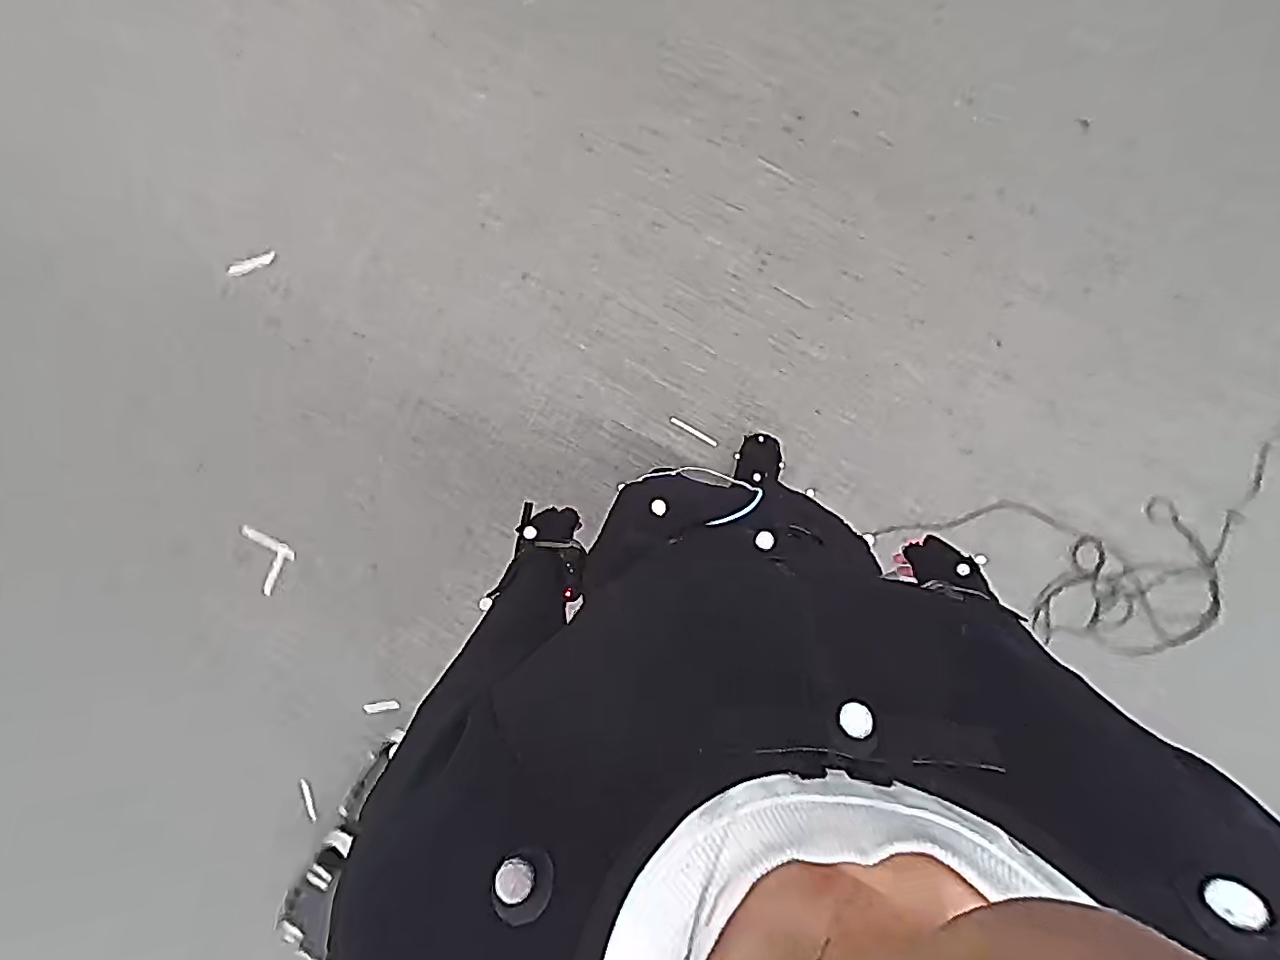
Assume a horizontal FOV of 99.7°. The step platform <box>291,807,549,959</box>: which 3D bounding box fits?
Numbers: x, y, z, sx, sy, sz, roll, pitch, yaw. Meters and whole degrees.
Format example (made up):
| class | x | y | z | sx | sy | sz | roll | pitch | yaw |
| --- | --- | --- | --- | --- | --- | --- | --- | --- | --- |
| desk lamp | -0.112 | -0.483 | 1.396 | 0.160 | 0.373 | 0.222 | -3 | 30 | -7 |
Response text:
| class | x | y | z | sx | sy | sz | roll | pitch | yaw |
| --- | --- | --- | --- | --- | --- | --- | --- | --- | --- |
| step platform | -0.617 | 1.255 | 1.535 | 0.684 | 0.204 | 0.286 | 29 | 96 | 4 |
